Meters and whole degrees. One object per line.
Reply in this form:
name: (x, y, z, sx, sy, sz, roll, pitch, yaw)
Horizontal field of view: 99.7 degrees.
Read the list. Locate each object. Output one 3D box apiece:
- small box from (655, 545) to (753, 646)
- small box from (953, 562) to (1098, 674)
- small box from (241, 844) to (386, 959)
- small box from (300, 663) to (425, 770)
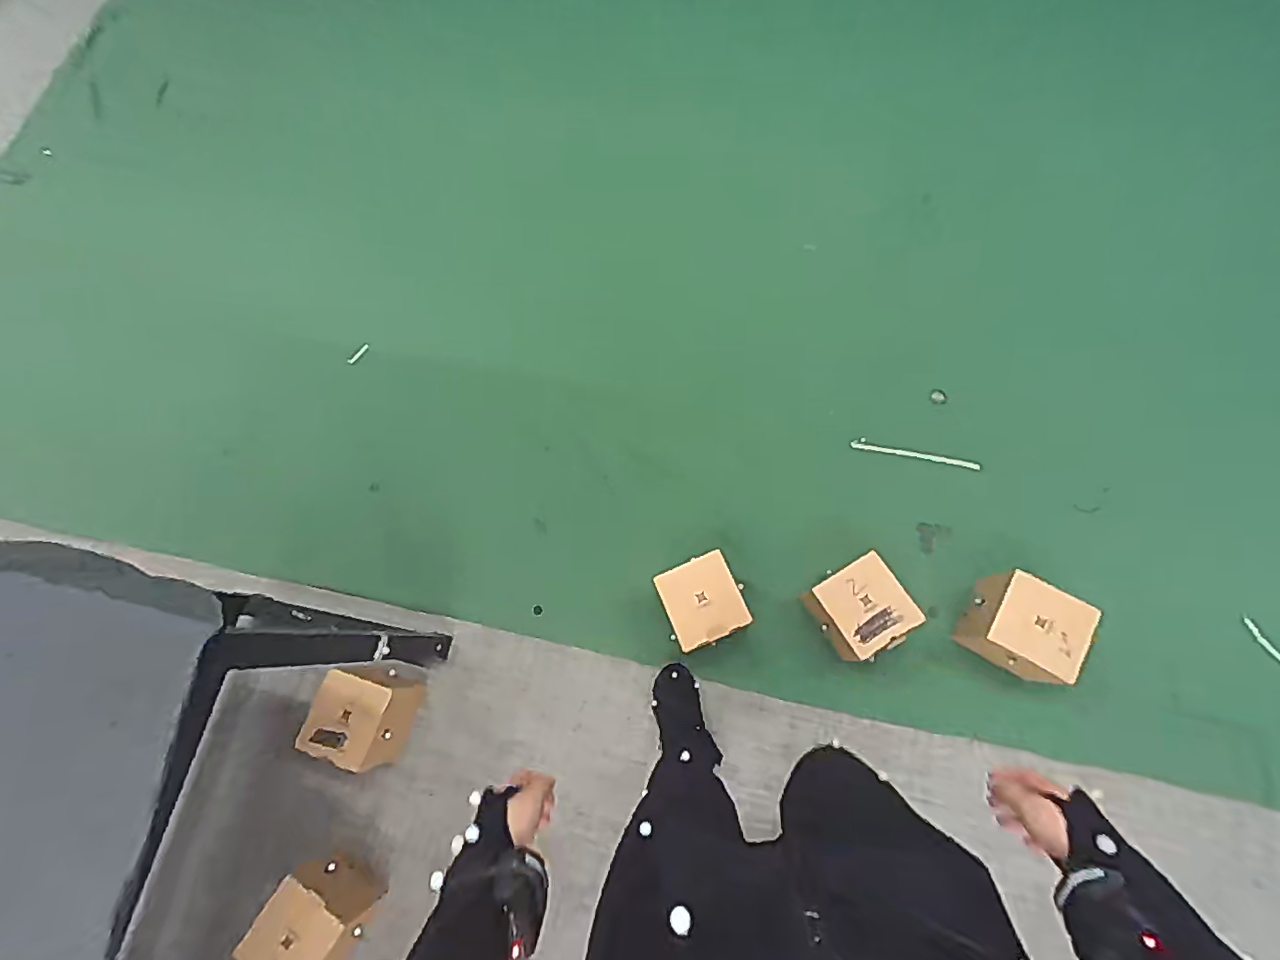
small box: (0.144, 0.273, 1.261, 0.168, 0.176, 0.179, -24, 74, -2)
small box: (0.829, 0.303, 1.183, 0.179, 0.176, 0.168, 29, 79, 12)
small box: (-0.679, 0.929, 1.152, 0.168, 0.176, 0.179, 30, 80, 13)
small box: (-0.634, 0.539, 1.259, 0.168, 0.176, 0.179, 15, 75, 9)
